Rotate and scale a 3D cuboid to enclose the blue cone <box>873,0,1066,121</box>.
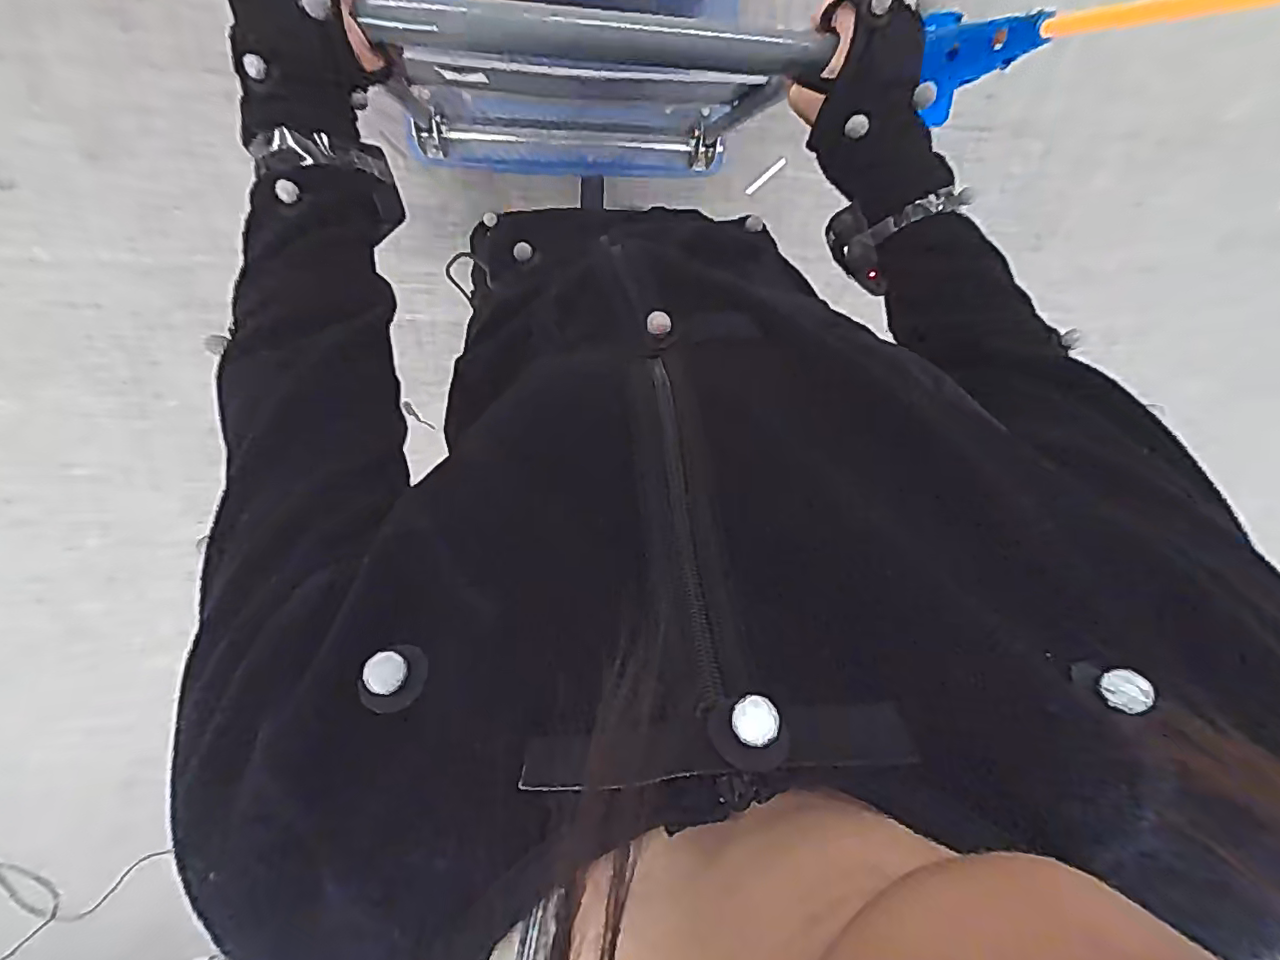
[{"bbox_3d":[0.617,-0.806,1.007,0.193,0.380,0.192,-5,117,-8],"label":"blue cone"}]
